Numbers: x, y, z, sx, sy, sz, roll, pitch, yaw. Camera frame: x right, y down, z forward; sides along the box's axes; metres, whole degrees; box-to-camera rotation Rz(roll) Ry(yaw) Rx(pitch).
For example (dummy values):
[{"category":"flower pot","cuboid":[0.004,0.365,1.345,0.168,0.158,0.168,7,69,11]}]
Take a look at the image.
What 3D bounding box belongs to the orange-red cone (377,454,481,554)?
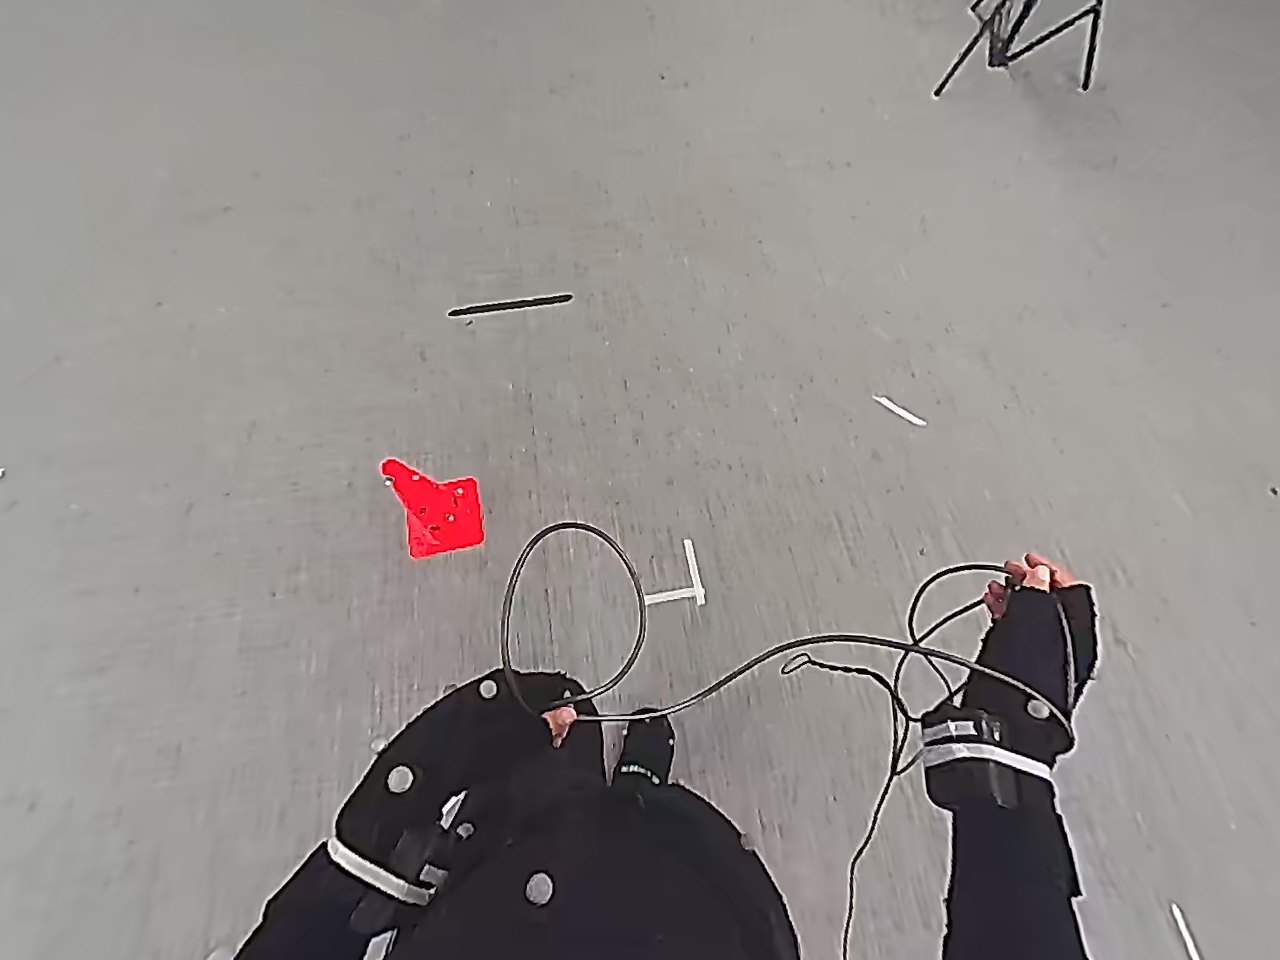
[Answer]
[{"category":"orange-red cone","cuboid":[-0.533,0.029,1.295,0.199,0.360,0.198,-12,68,-3]}]
